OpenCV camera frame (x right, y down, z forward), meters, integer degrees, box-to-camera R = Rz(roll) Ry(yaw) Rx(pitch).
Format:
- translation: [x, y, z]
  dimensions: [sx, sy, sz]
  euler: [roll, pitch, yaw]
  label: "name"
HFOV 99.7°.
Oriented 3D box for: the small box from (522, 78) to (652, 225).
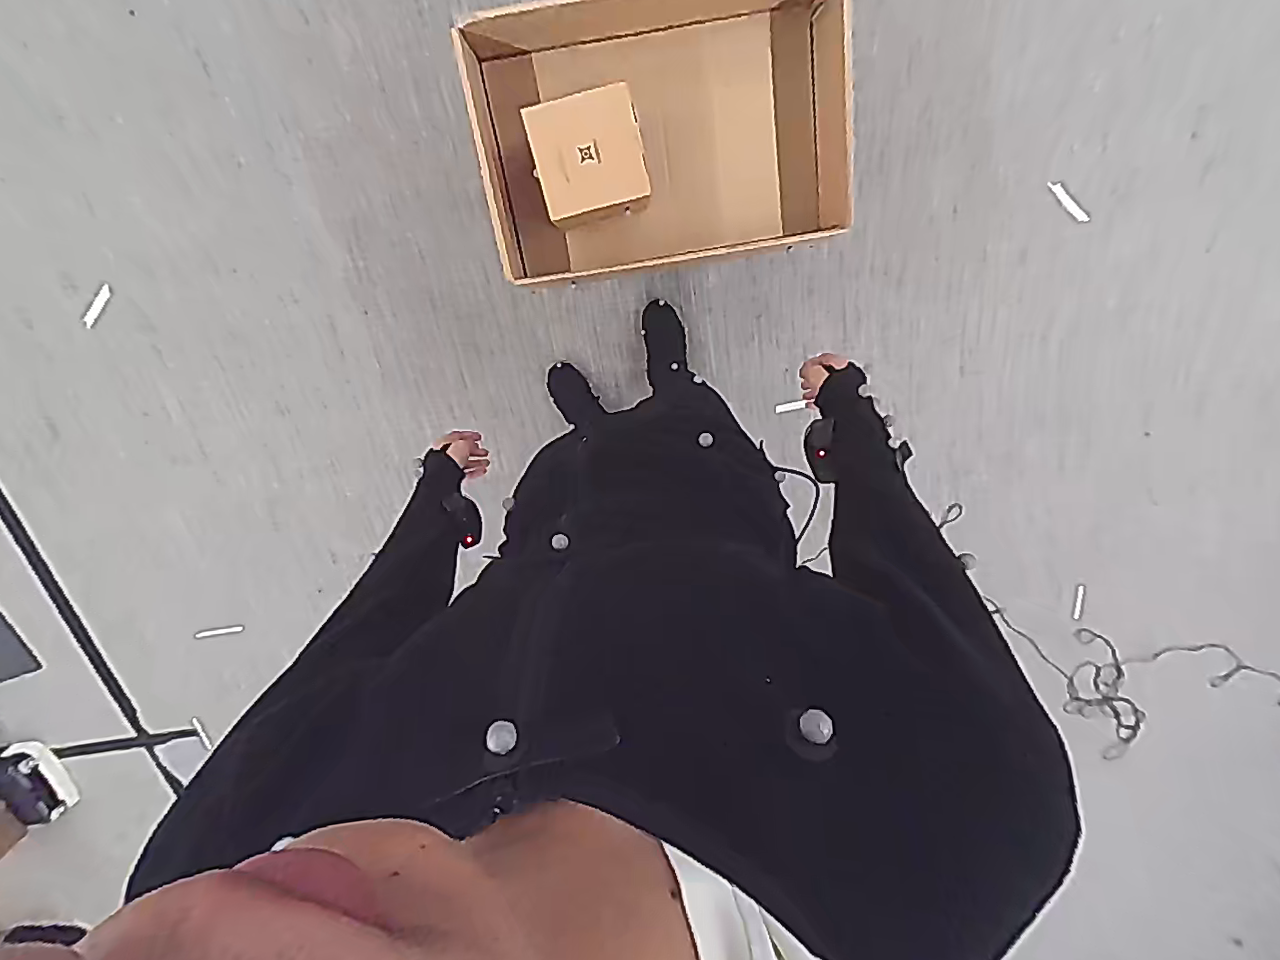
- translation: [-0.086, -0.554, 0.935]
  dimensions: [0.179, 0.176, 0.168]
  euler: [-13, 109, 2]
  label: "small box"
